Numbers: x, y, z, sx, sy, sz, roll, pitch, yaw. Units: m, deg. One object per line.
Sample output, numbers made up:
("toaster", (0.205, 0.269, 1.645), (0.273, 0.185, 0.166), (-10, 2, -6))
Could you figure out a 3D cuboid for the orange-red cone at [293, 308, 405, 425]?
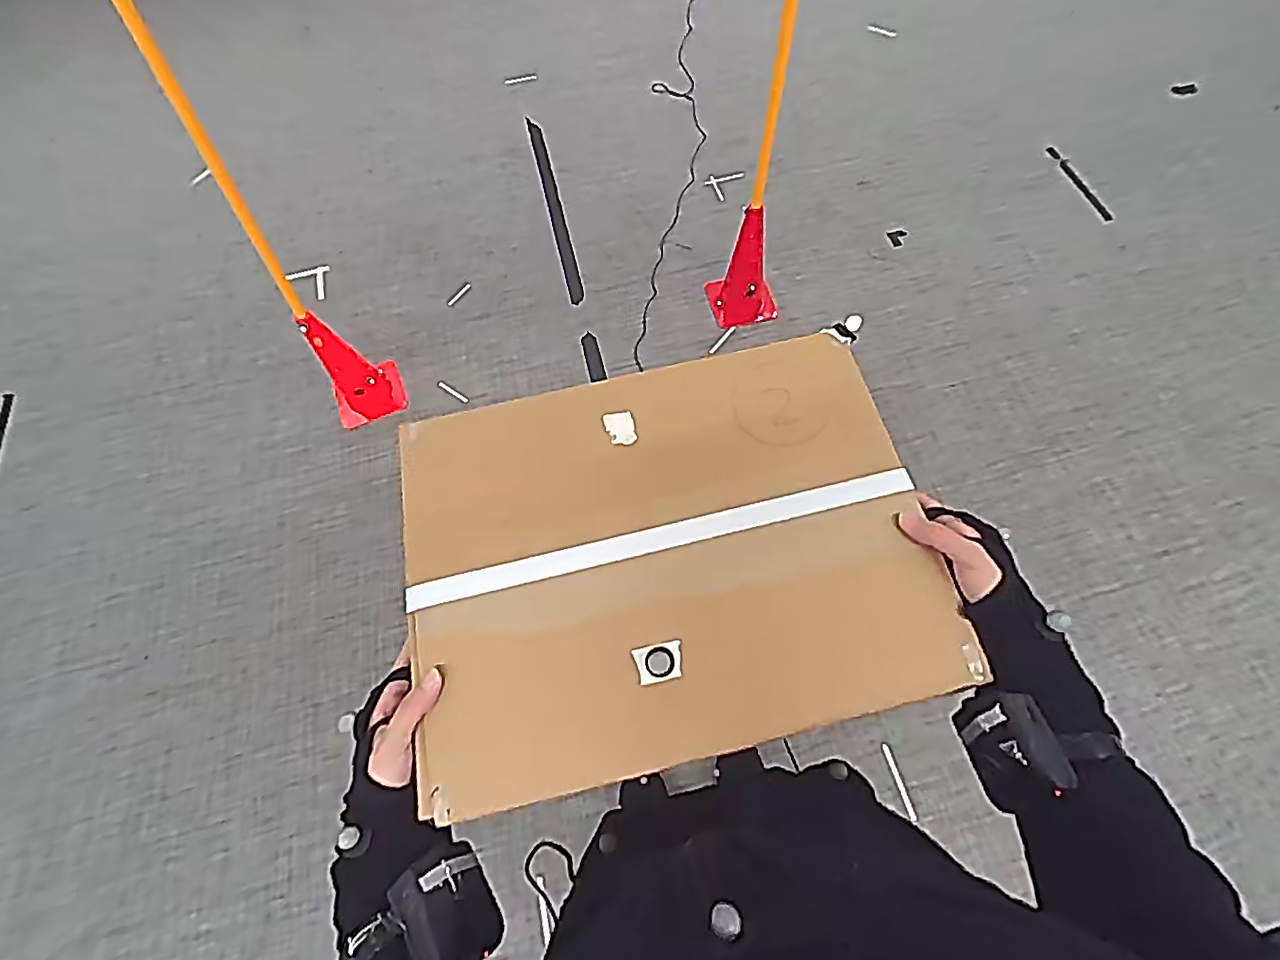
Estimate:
("orange-red cone", (-0.841, -0.340, 1.508), (0.199, 0.360, 0.198), (-23, 65, -6))
